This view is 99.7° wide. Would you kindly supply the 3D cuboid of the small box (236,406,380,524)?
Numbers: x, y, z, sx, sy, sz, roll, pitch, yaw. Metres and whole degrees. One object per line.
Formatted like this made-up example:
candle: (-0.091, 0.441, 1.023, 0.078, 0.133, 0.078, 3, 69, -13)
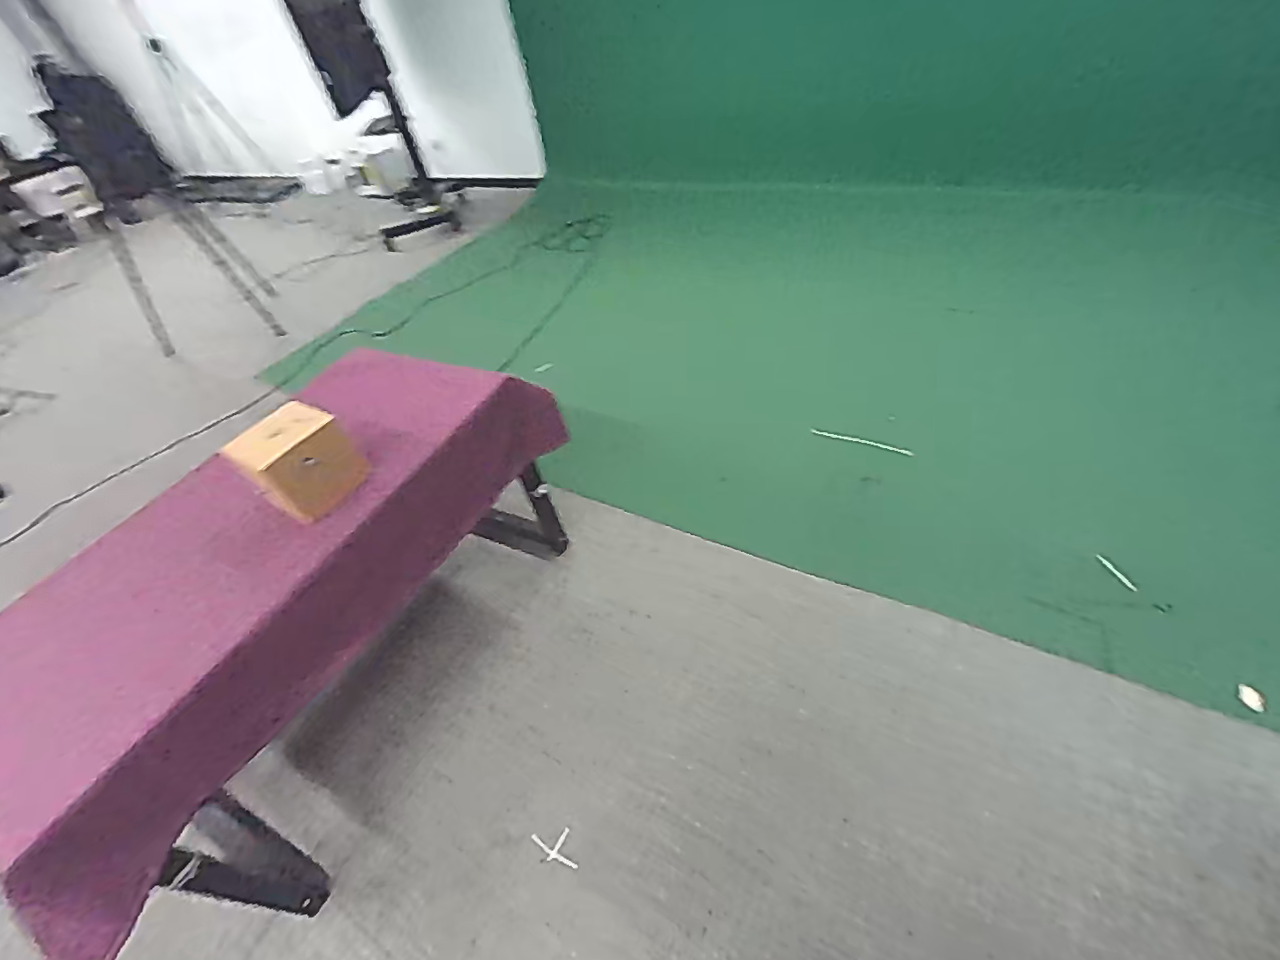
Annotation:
small box: (-0.720, -0.032, 1.190, 0.168, 0.176, 0.179, 19, 54, 29)
